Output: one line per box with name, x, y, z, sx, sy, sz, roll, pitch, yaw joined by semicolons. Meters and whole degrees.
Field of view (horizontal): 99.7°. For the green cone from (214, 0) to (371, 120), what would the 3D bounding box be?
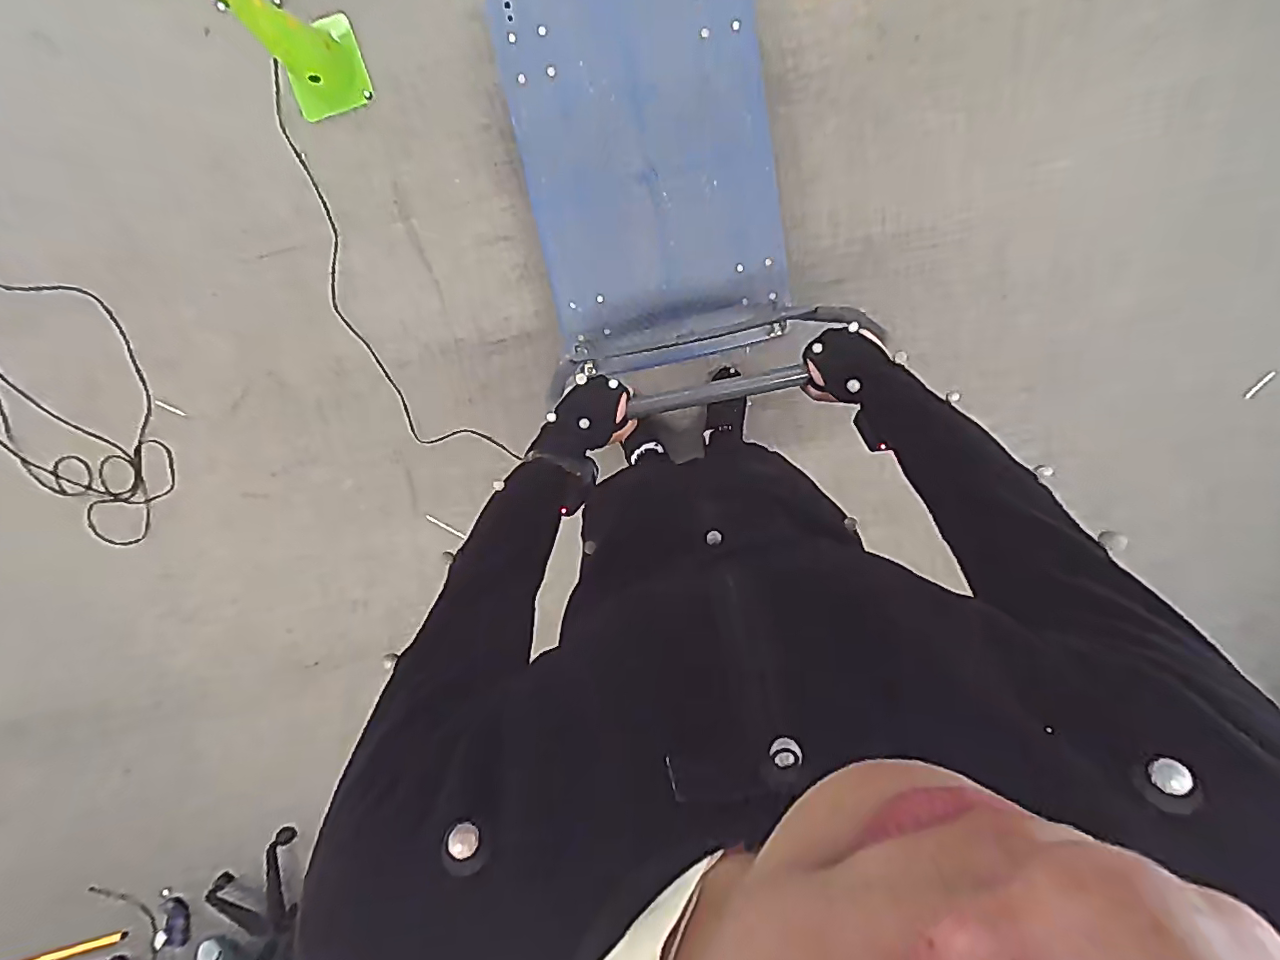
green cone;-0.813;-1.006;1.208;0.202;0.368;0.200;-15;104;8
